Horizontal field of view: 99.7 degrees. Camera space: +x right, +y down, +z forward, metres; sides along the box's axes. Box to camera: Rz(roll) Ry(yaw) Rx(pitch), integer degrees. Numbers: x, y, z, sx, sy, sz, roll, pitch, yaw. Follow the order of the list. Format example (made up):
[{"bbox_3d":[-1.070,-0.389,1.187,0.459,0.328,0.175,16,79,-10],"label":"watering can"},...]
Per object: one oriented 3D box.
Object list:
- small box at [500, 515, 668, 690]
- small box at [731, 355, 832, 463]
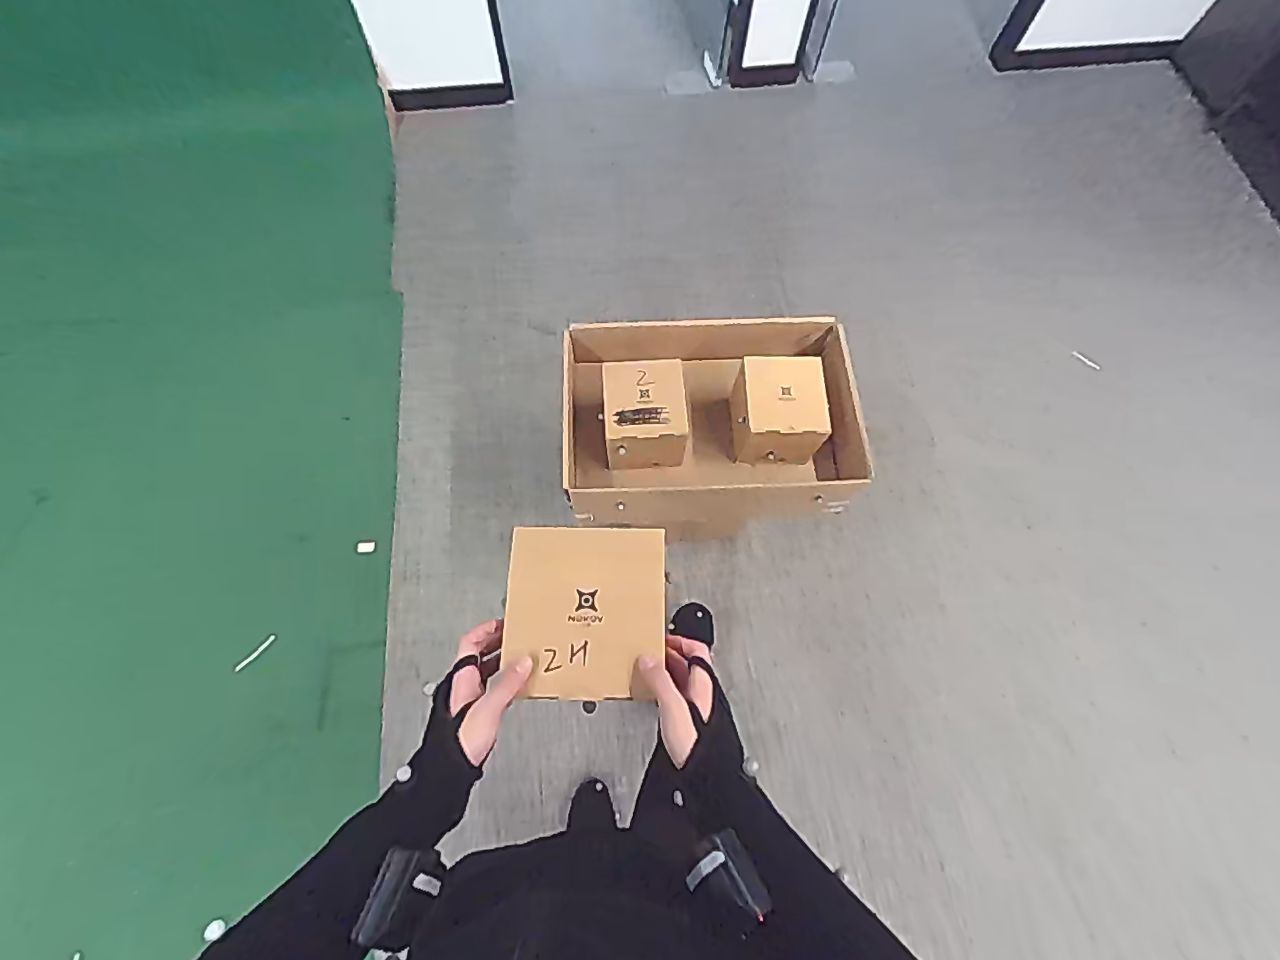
[{"bbox_3d":[-0.054,0.149,0.631,0.168,0.176,0.179,1,69,1],"label":"small box"},{"bbox_3d":[0.295,-0.149,1.168,0.168,0.176,0.179,0,70,-2],"label":"small box"}]
